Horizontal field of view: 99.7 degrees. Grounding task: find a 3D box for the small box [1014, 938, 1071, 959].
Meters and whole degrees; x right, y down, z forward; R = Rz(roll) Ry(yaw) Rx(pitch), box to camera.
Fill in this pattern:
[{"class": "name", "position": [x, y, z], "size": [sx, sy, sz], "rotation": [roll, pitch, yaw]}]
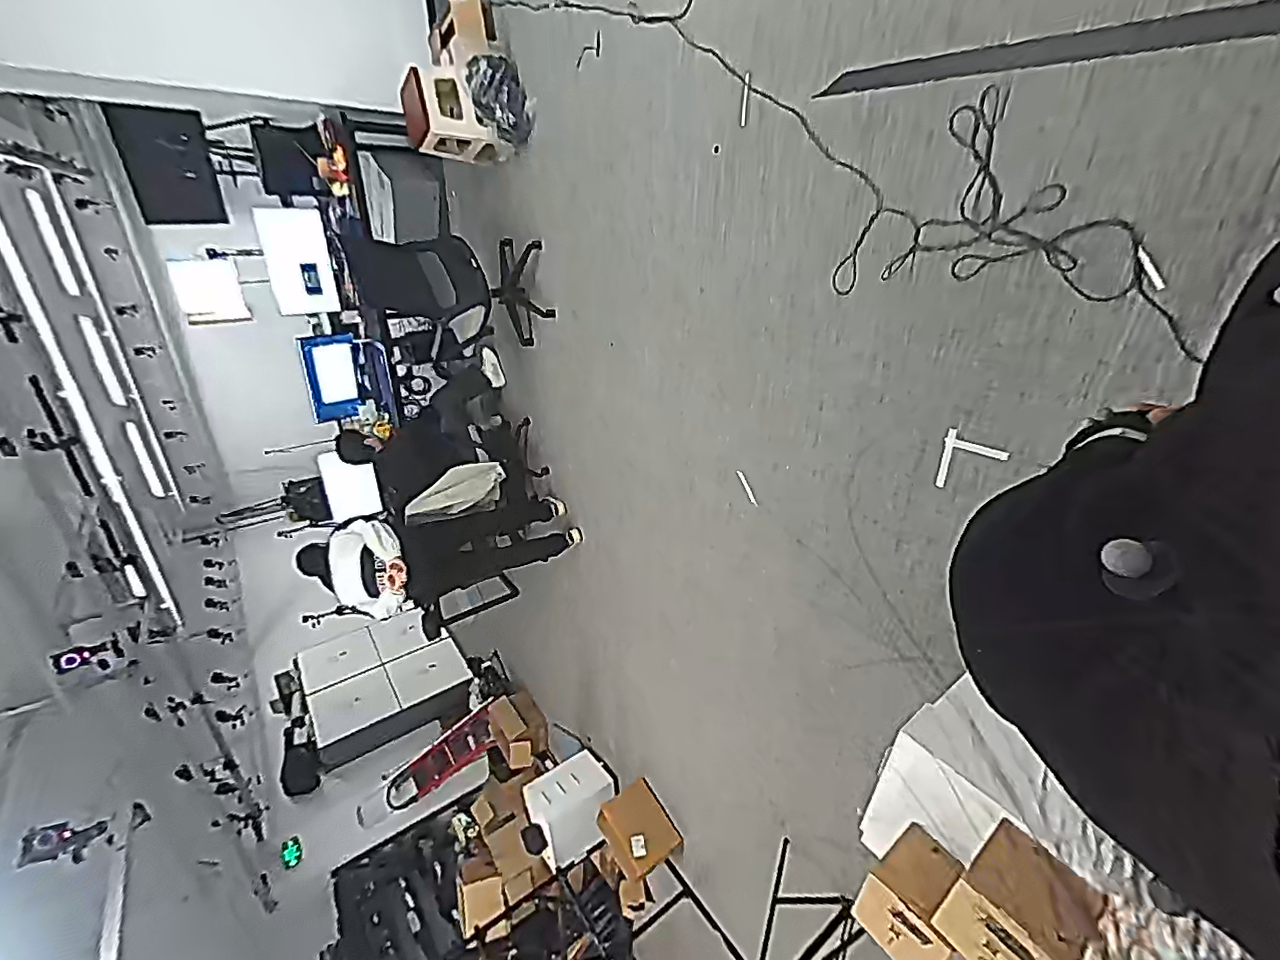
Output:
[{"class": "small box", "position": [0.717, 0.956, 0.935], "size": [0.168, 0.176, 0.179], "rotation": [37, 133, 42]}]
